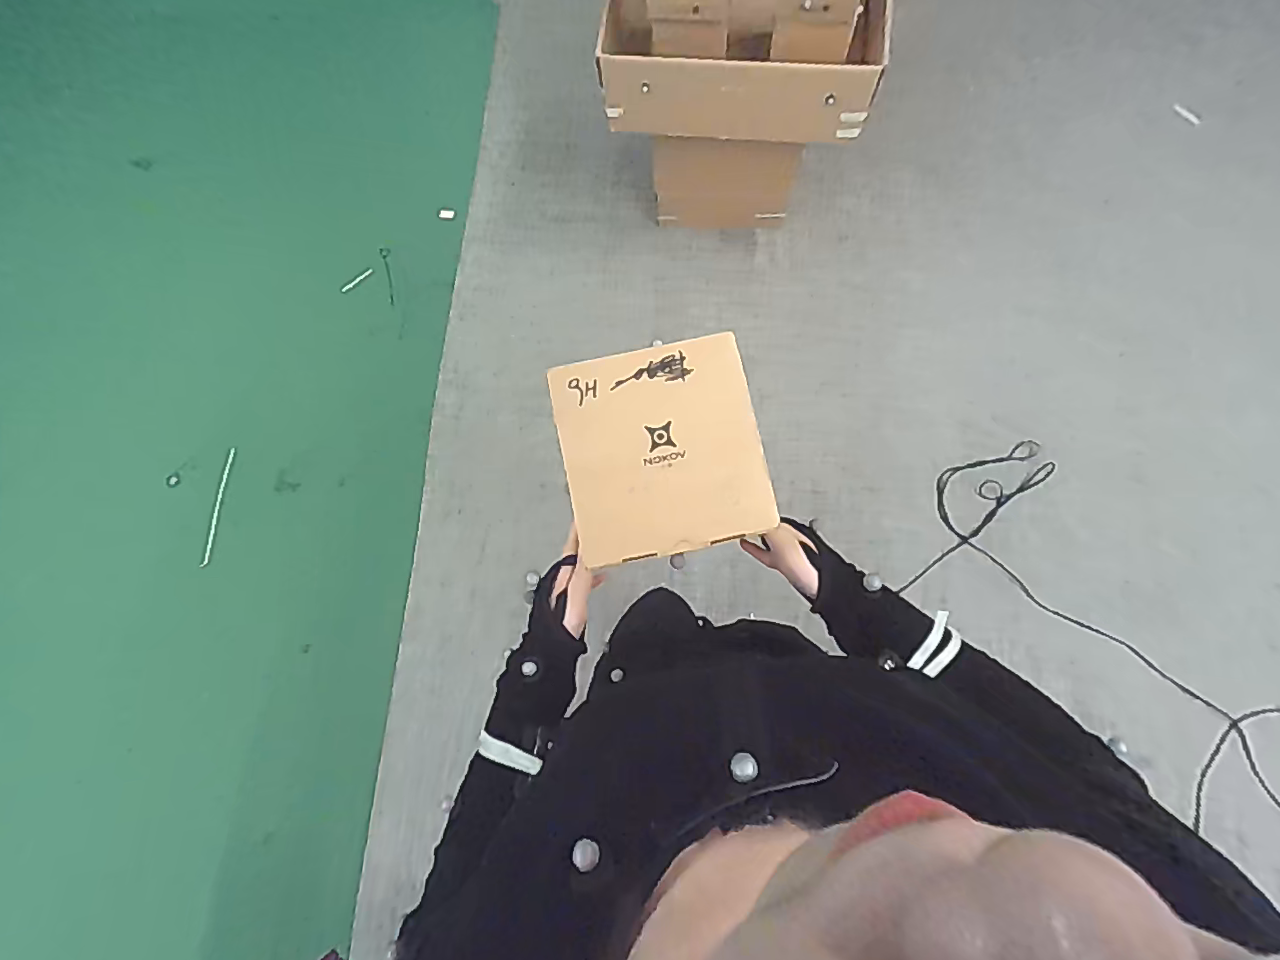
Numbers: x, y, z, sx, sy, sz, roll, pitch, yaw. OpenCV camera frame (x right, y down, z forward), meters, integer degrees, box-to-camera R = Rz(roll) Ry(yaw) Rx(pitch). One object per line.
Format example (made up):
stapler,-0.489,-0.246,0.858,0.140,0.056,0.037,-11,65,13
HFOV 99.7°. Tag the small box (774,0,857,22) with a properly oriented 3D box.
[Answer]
small box,0.359,-1.044,1.044,0.168,0.176,0.179,9,80,8

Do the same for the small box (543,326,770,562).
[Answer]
small box,0.014,-0.024,0.529,0.168,0.176,0.179,-11,83,-1
